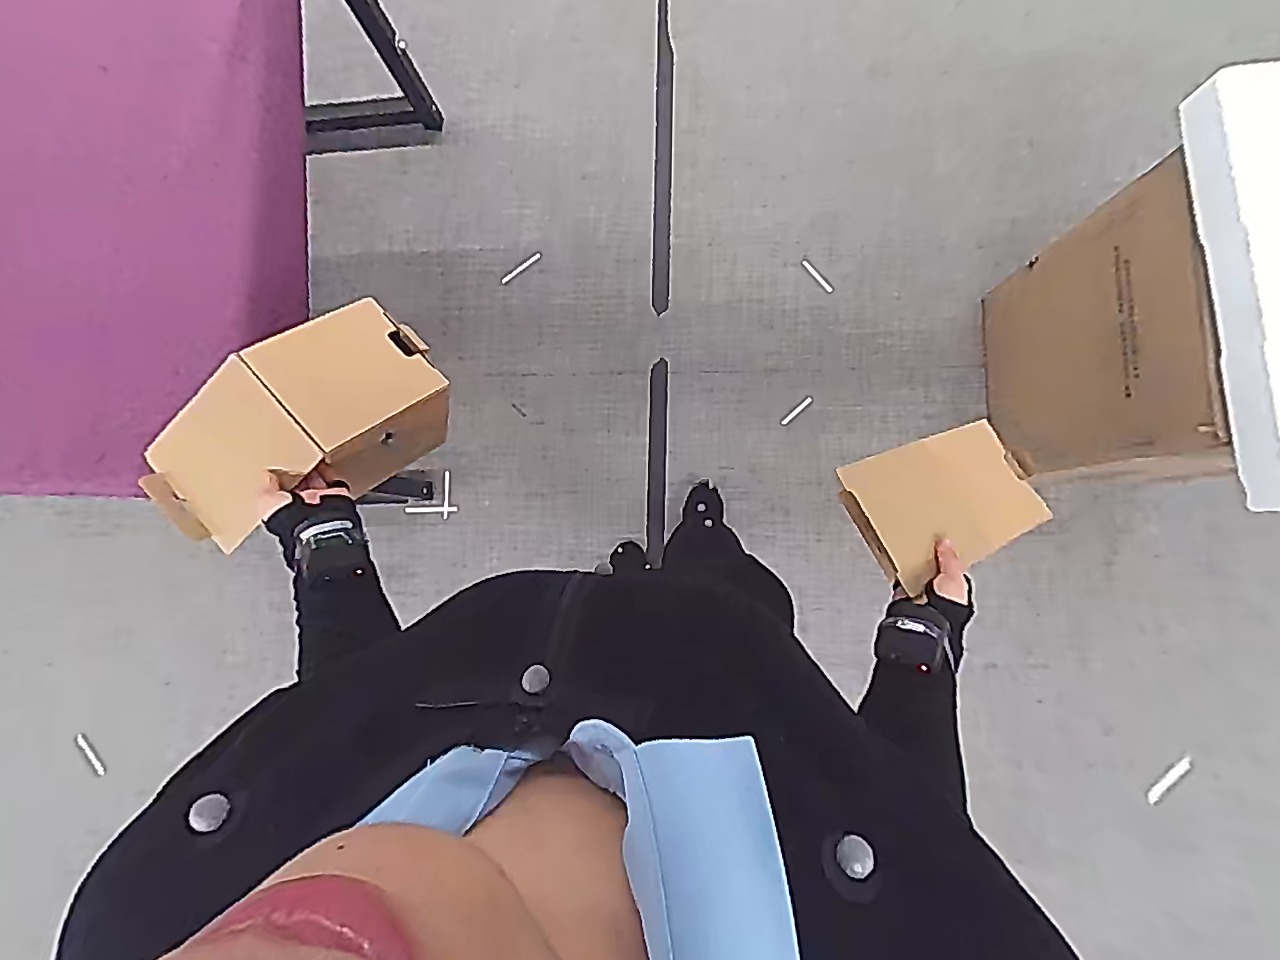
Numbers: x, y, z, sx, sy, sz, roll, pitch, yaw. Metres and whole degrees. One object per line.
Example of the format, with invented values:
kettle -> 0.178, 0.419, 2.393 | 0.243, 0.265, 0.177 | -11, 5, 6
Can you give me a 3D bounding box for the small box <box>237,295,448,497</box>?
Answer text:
small box -> -0.380, -0.105, 0.725 | 0.168, 0.176, 0.179 | 47, 58, 4
